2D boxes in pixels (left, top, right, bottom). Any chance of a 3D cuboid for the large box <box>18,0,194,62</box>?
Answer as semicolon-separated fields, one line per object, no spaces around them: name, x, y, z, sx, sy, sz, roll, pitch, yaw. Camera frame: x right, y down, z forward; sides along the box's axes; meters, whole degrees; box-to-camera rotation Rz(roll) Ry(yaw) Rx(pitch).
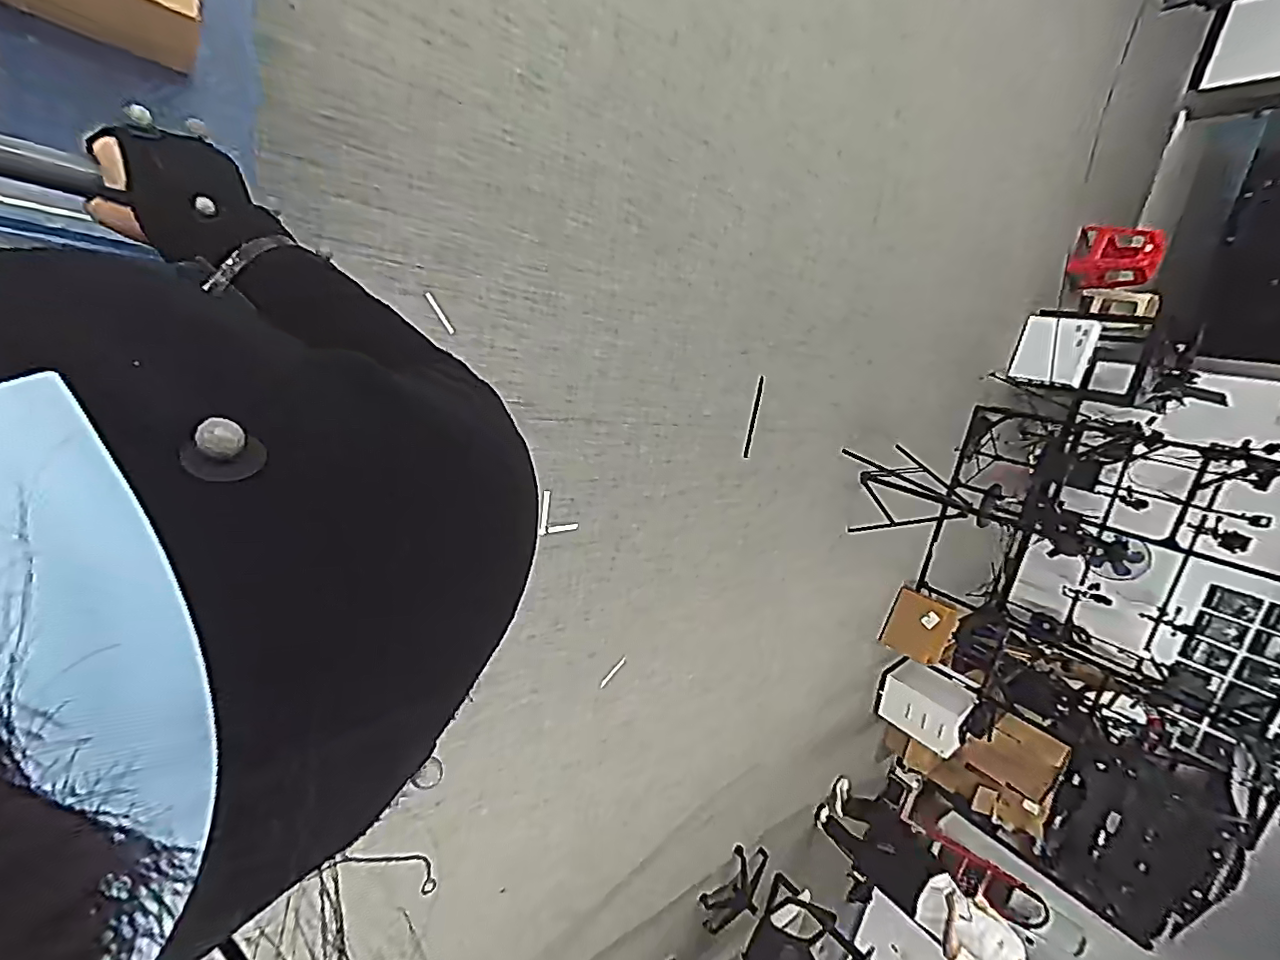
large box;-0.786;-0.791;0.637;0.408;0.320;0.320;2;106;-40
